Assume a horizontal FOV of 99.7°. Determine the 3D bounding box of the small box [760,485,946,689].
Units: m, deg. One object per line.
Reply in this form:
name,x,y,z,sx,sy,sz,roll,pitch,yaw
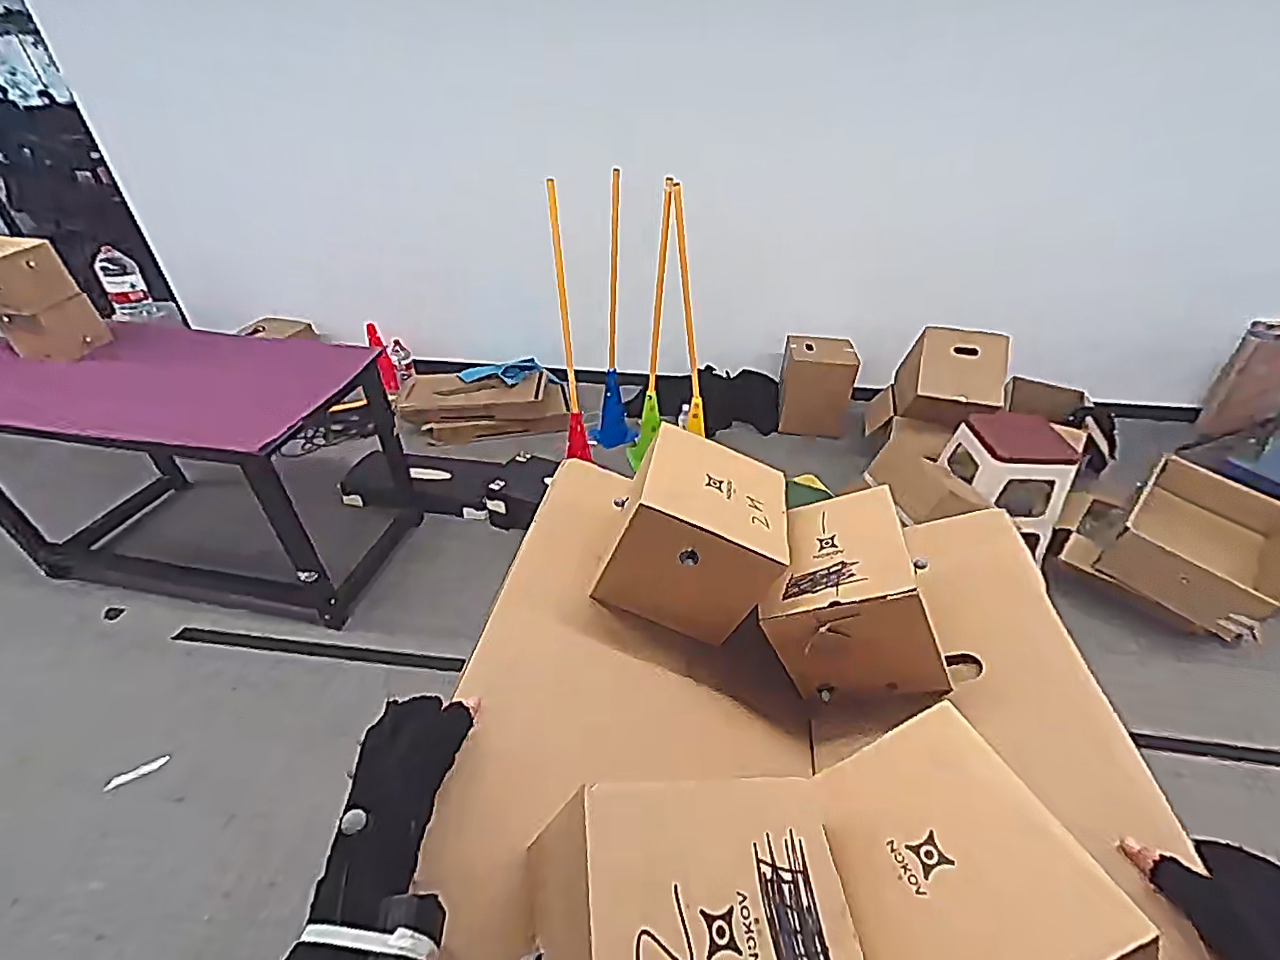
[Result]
small box,0.259,0.139,0.671,0.168,0.176,0.179,-18,29,25
